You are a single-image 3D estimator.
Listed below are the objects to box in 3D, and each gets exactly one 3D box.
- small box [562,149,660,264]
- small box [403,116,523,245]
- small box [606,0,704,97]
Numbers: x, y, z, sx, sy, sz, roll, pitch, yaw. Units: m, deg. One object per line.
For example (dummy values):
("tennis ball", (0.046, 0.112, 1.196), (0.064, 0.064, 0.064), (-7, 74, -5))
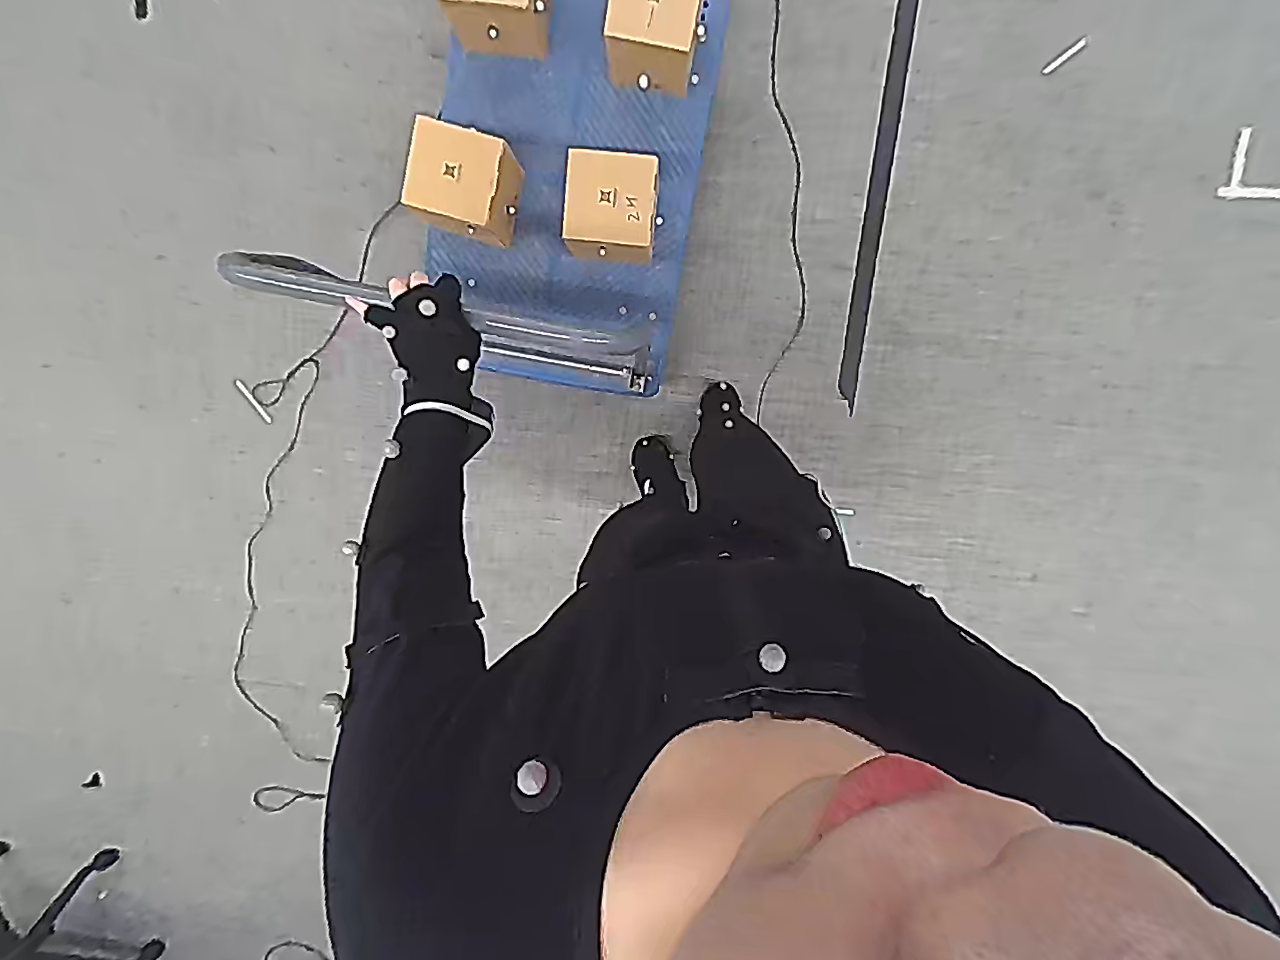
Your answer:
("small box", (-0.054, -0.557, 1.123), (0.179, 0.176, 0.168), (6, 100, 1))
("small box", (-0.359, -0.608, 1.124), (0.179, 0.176, 0.168), (15, 99, -3))
("small box", (0.033, -0.903, 1.061), (0.168, 0.176, 0.179), (11, 101, 0))
